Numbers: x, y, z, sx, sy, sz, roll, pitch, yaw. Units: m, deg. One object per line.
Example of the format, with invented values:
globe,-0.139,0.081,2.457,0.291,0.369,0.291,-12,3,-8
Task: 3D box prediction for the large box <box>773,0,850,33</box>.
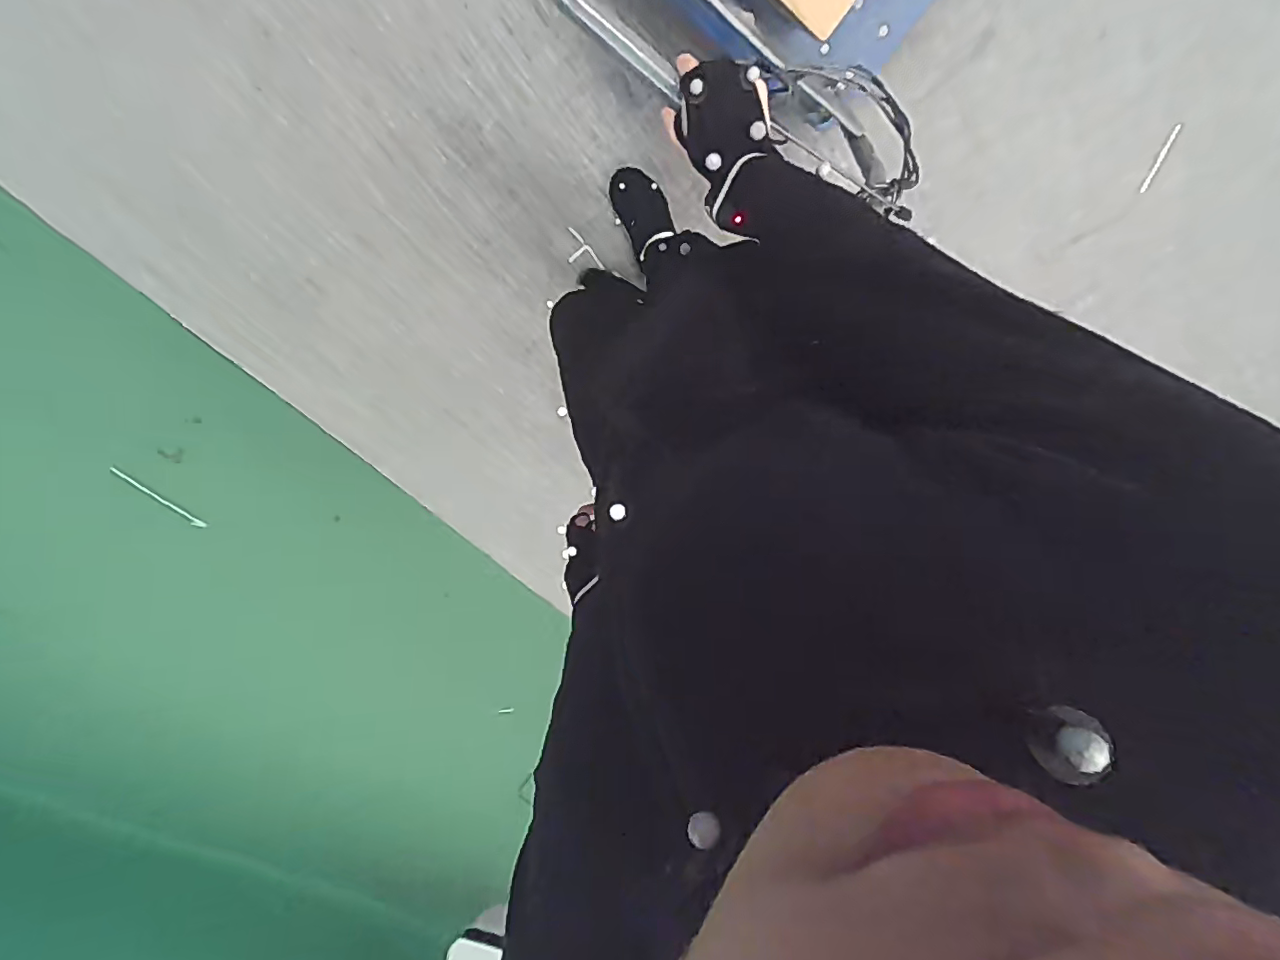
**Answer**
large box,0.269,-0.941,0.746,0.320,0.320,0.408,30,129,-19
